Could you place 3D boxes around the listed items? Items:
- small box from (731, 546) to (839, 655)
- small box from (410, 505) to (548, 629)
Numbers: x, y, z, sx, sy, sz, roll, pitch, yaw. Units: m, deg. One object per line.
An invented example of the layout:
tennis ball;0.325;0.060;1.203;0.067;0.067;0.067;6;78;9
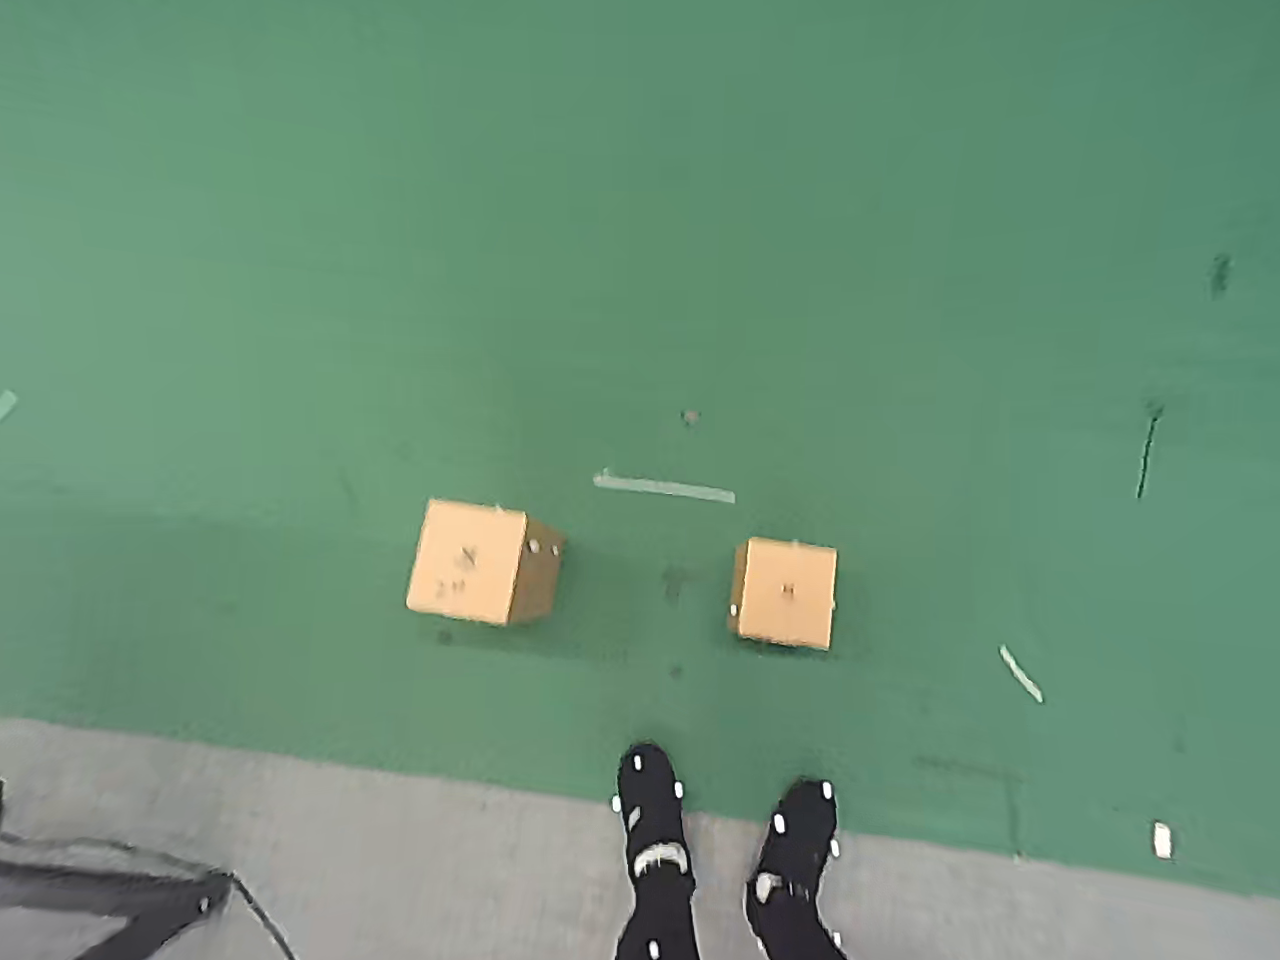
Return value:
small box;0.278;0.235;1.068;0.168;0.176;0.179;8;79;4
small box;-0.266;0.153;0.940;0.168;0.176;0.179;9;78;5
